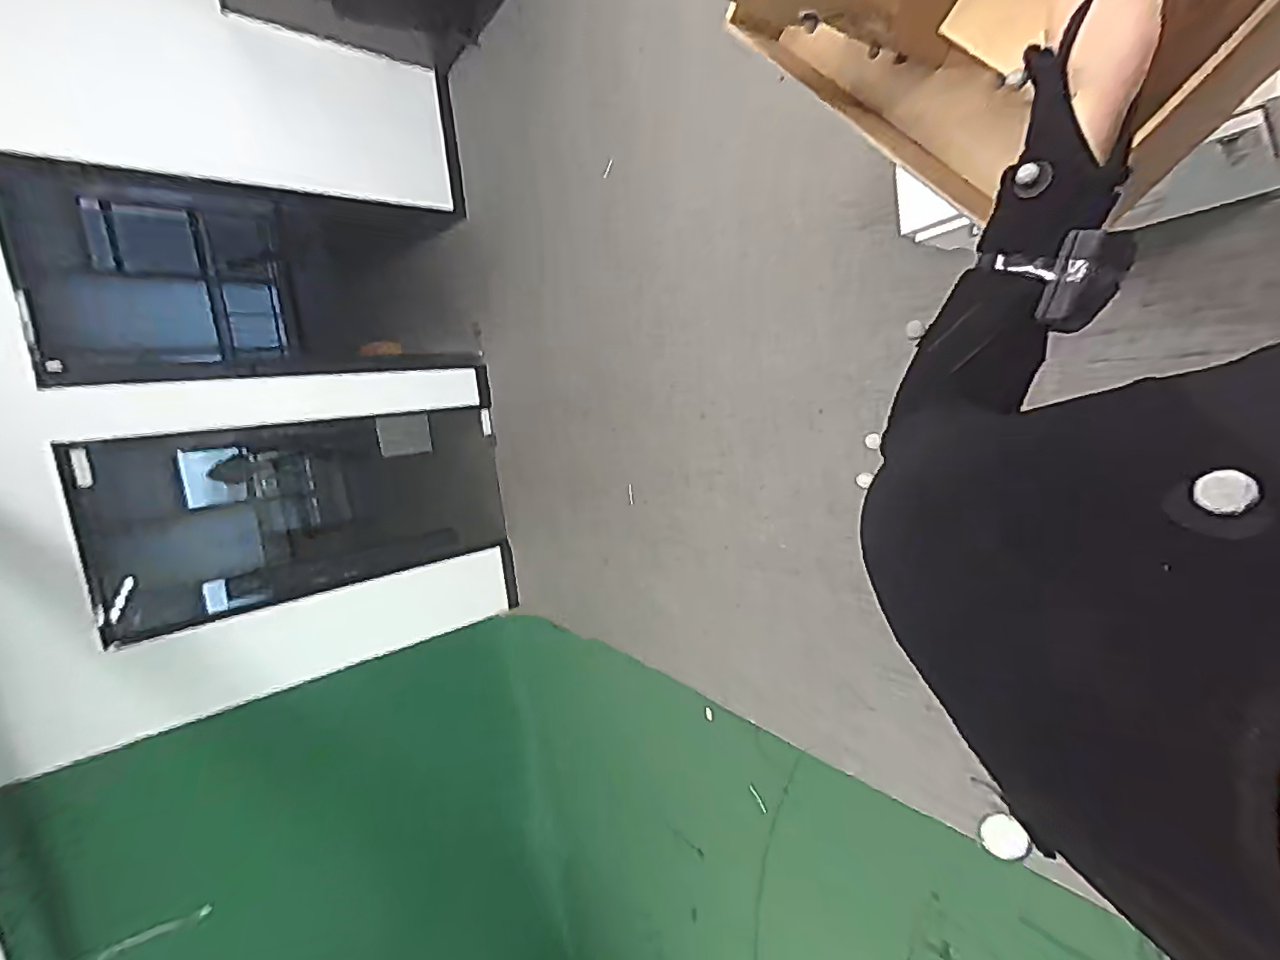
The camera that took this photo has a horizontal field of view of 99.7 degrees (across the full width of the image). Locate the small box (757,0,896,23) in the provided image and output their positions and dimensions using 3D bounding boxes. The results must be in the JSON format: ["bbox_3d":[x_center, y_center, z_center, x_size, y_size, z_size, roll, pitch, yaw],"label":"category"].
[{"bbox_3d":[0.204,-0.652,0.603,0.168,0.176,0.179,36,129,41],"label":"small box"}]
